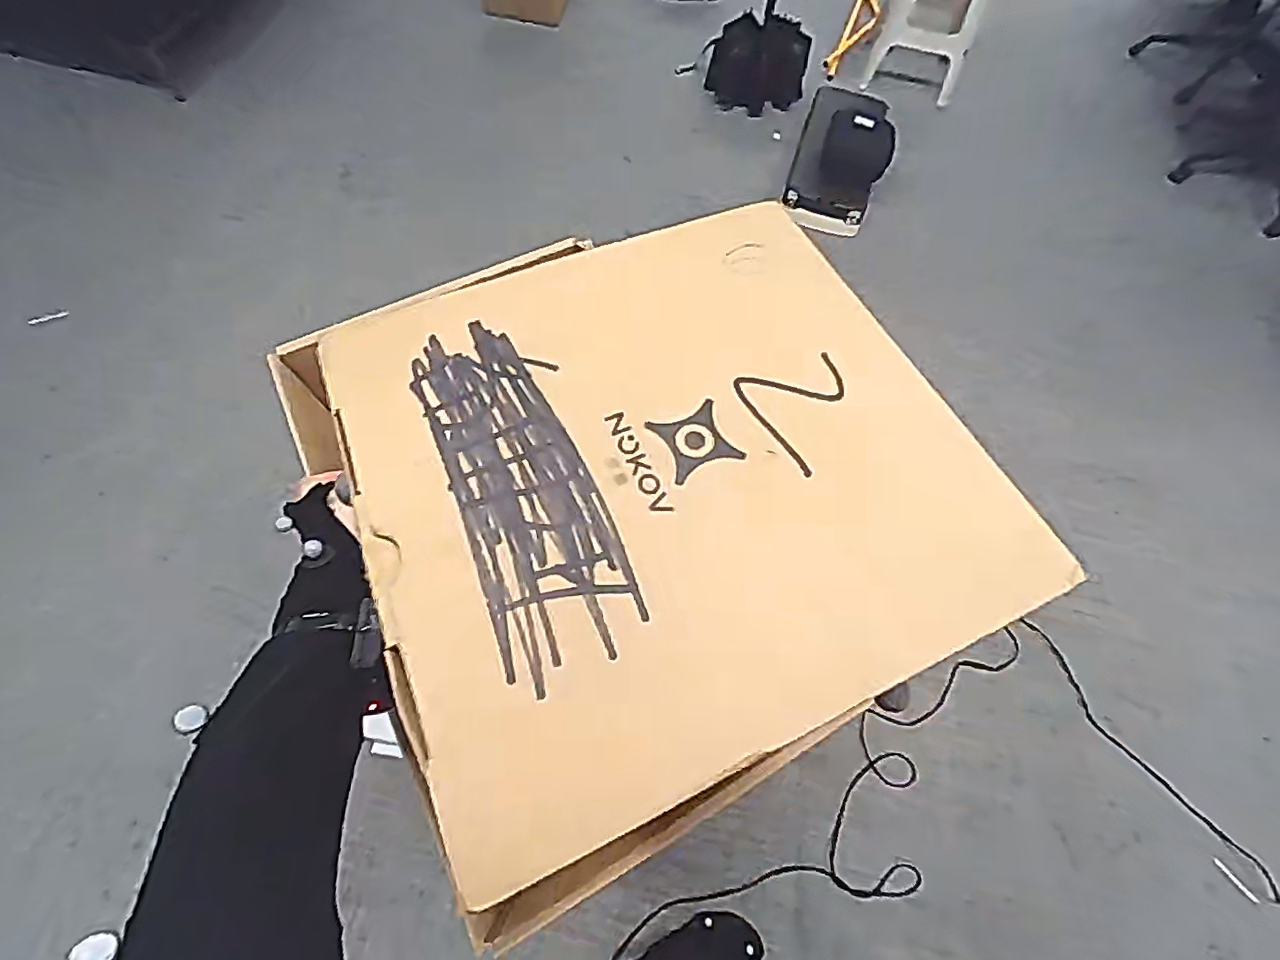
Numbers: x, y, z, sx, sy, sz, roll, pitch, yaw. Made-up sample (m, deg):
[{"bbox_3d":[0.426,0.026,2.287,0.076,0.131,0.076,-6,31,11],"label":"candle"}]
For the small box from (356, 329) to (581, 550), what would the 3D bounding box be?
[{"bbox_3d":[-0.178,-0.028,0.621,0.168,0.176,0.179,-35,75,-16],"label":"small box"}]
